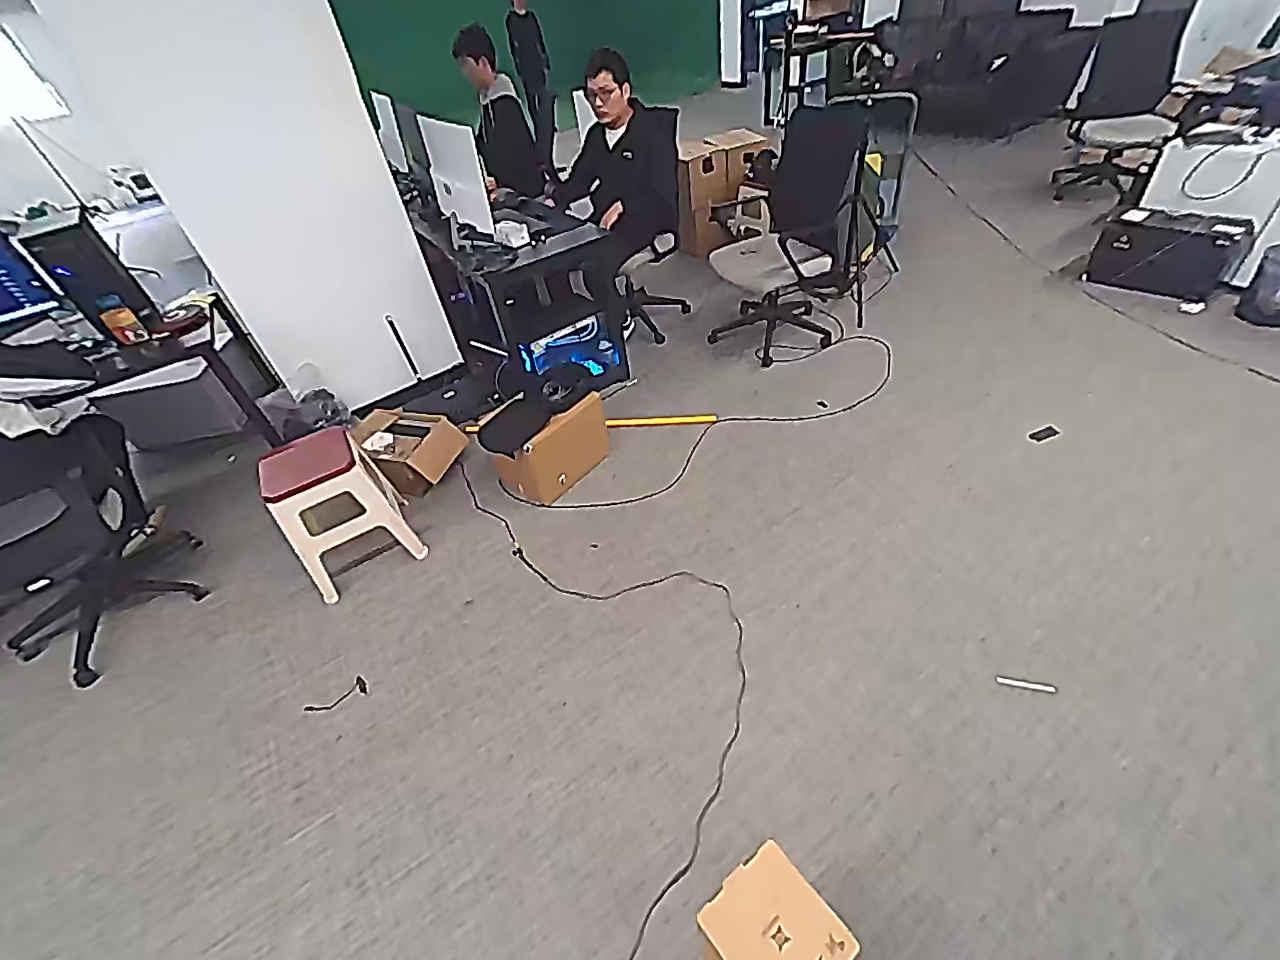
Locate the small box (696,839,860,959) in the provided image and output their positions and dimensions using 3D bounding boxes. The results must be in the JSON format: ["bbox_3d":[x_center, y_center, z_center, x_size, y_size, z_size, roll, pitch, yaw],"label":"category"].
[{"bbox_3d":[0.205,0.715,0.838,0.168,0.176,0.179,-32,47,-22],"label":"small box"}]
